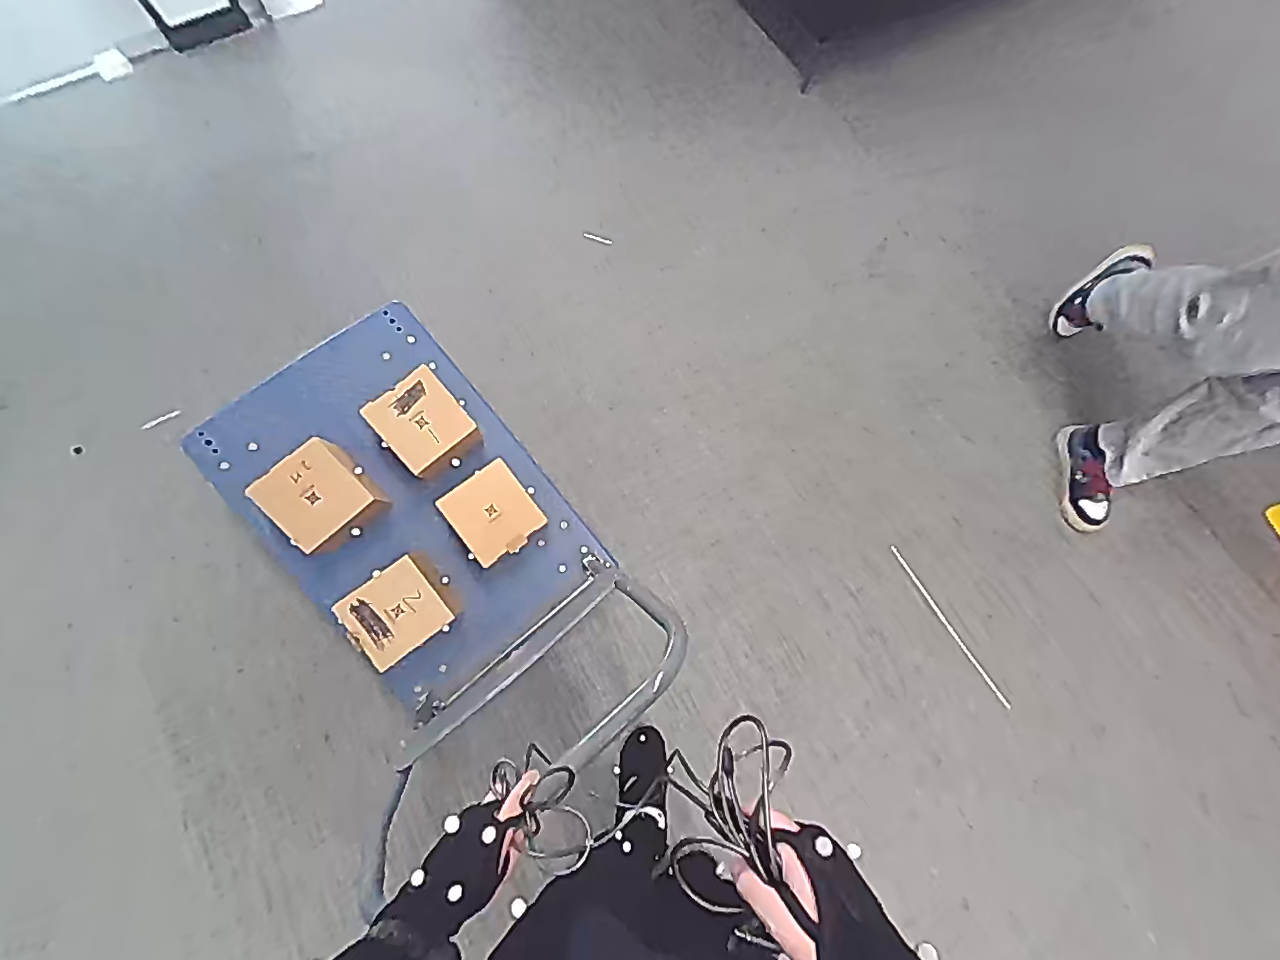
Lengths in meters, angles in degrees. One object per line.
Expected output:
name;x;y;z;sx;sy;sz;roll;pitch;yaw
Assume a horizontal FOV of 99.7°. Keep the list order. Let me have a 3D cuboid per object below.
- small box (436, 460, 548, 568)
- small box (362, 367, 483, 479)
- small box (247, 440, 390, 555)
small box;-0.327;0.079;1.216;0.168;0.176;0.179;-37;93;-12
small box;-0.473;-0.117;1.205;0.168;0.176;0.179;-40;93;-11
small box;-0.669;0.039;1.154;0.168;0.176;0.179;-42;93;-12
